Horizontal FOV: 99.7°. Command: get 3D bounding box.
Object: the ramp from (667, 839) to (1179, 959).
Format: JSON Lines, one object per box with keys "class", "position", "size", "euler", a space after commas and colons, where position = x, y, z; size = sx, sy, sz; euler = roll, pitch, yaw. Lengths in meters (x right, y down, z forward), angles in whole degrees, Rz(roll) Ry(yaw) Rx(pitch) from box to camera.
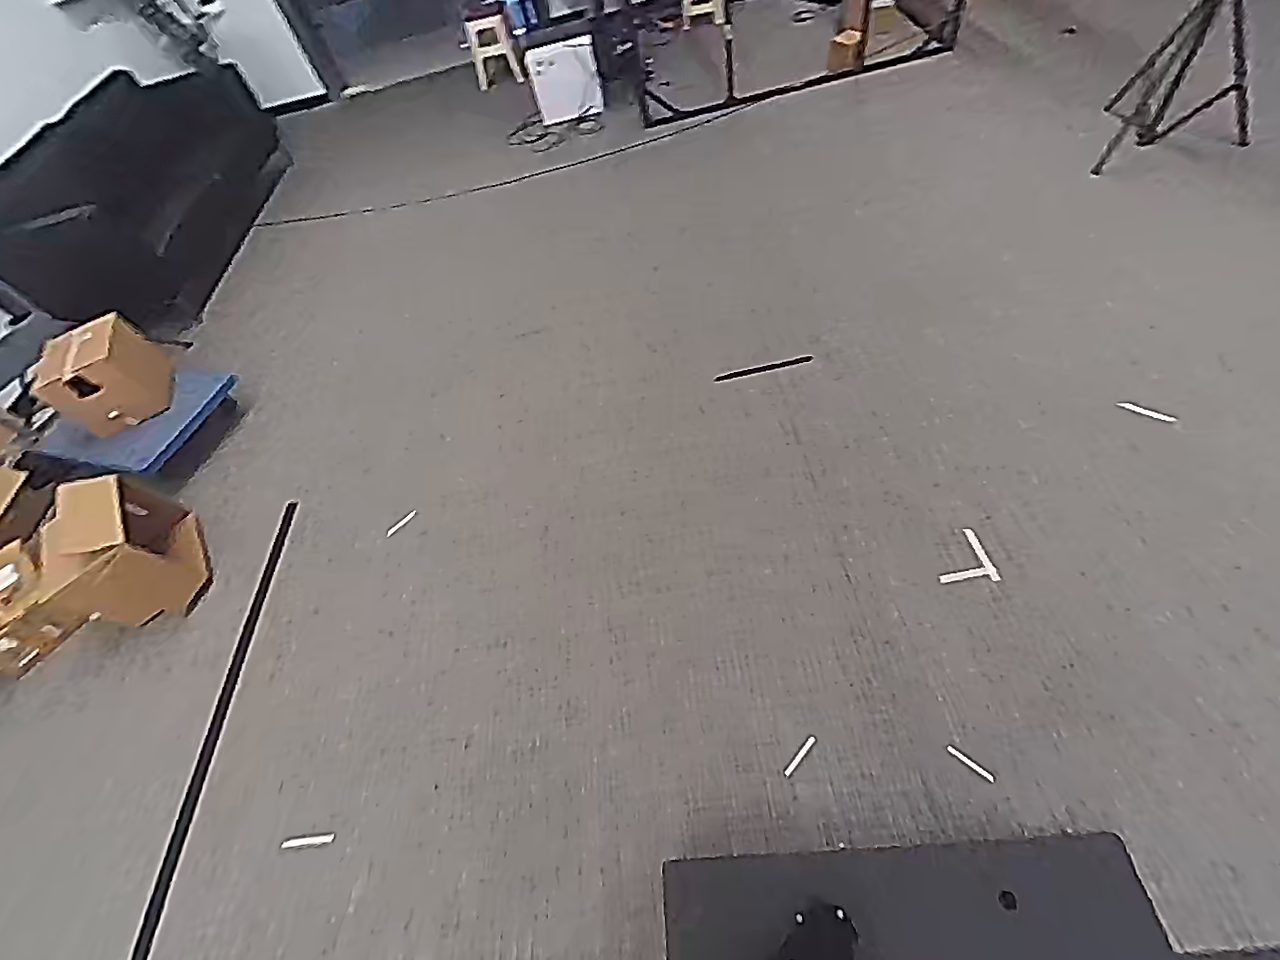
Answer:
{"class": "ramp", "position": [0.567, 1.008, 1.022], "size": [0.991, 0.206, 0.509], "euler": [-11, 51, 5]}
